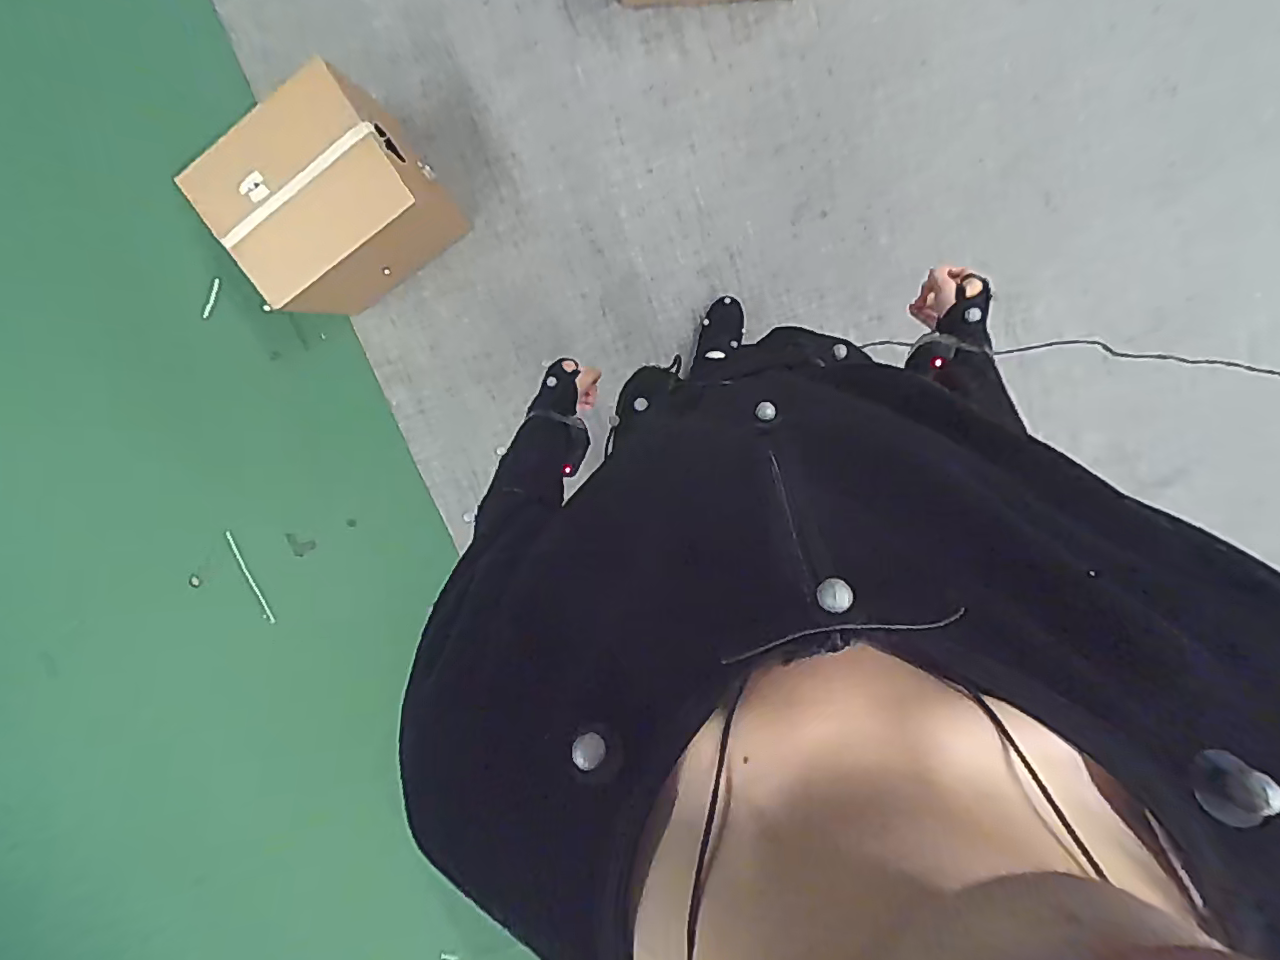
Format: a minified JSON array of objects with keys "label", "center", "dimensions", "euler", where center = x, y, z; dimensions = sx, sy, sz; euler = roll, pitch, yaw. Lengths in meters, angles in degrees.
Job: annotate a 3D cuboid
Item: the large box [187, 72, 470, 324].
[{"label":"large box","center":[-0.684,-0.605,1.252],"dimensions":[0.408,0.320,0.320],"euler":[-31,99,11]}]
